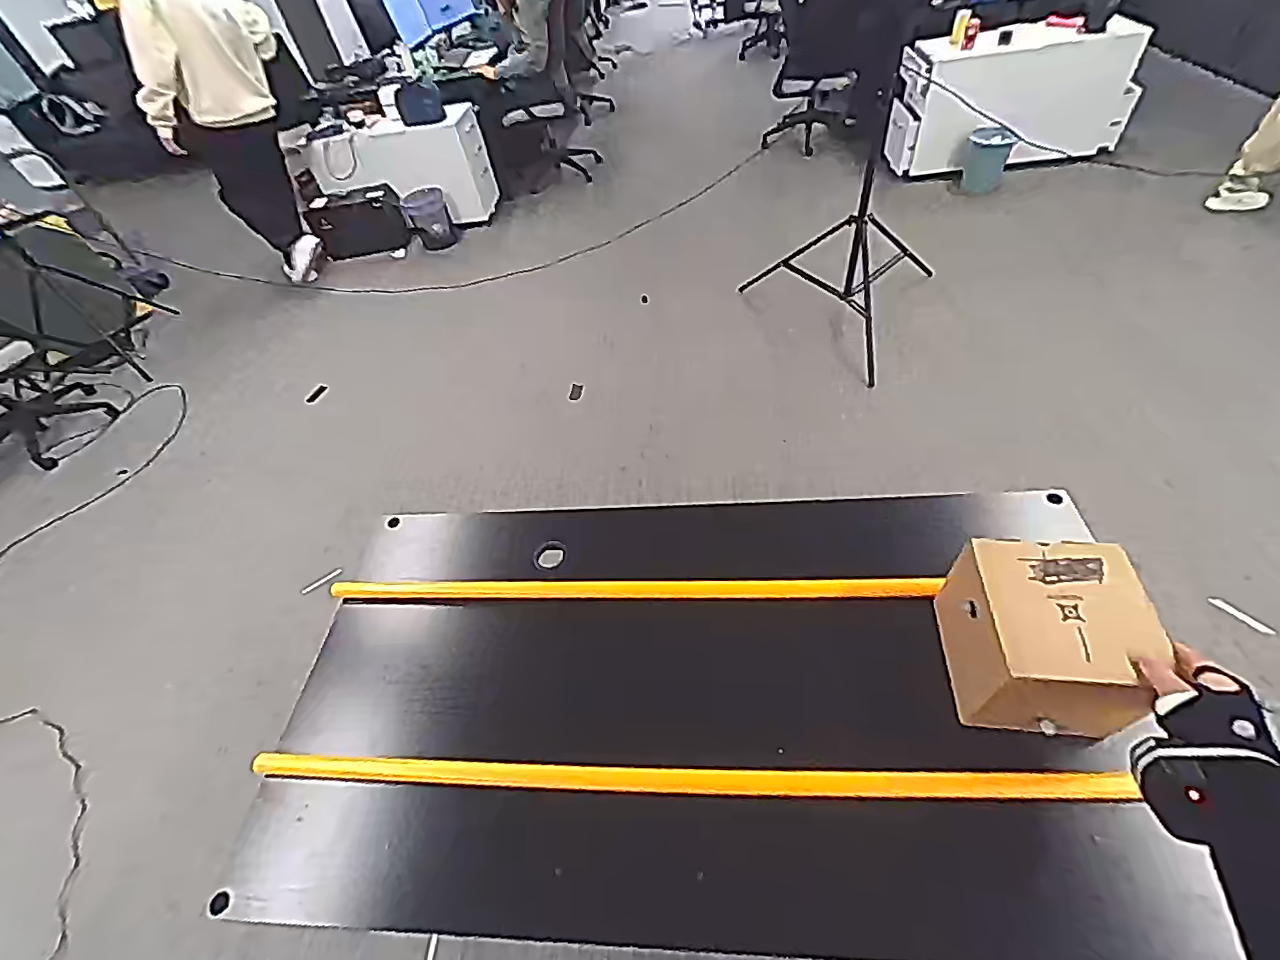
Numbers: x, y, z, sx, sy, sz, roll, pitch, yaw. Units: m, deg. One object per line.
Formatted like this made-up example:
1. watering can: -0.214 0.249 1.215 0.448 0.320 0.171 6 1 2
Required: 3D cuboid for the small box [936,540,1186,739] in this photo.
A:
1. small box: 0.485 0.194 0.664 0.168 0.176 0.179 1 50 11
